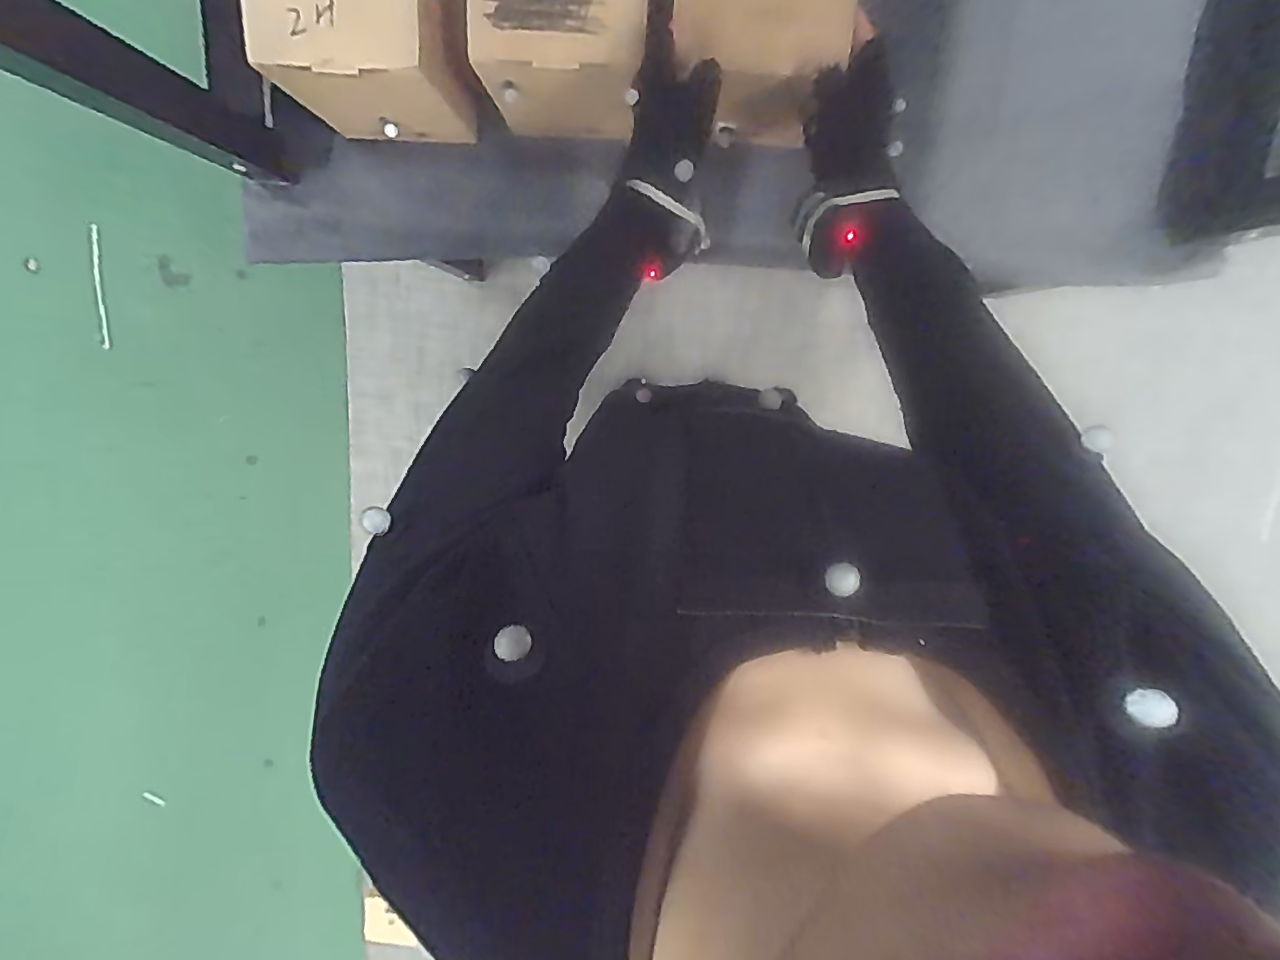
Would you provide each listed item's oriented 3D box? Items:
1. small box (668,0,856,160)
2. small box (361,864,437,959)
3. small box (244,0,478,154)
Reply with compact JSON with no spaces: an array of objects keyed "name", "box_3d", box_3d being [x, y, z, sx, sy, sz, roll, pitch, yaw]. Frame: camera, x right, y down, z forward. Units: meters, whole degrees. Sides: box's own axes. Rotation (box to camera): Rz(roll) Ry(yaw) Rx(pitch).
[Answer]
[{"name":"small box","box_3d":[0.118,-0.466,0.564,0.168,0.176,0.179,5,102,2]},{"name":"small box","box_3d":[-0.755,1.360,1.706,0.168,0.176,0.179,7,102,1]},{"name":"small box","box_3d":[-0.277,-0.476,0.569,0.168,0.176,0.179,3,101,1]}]
